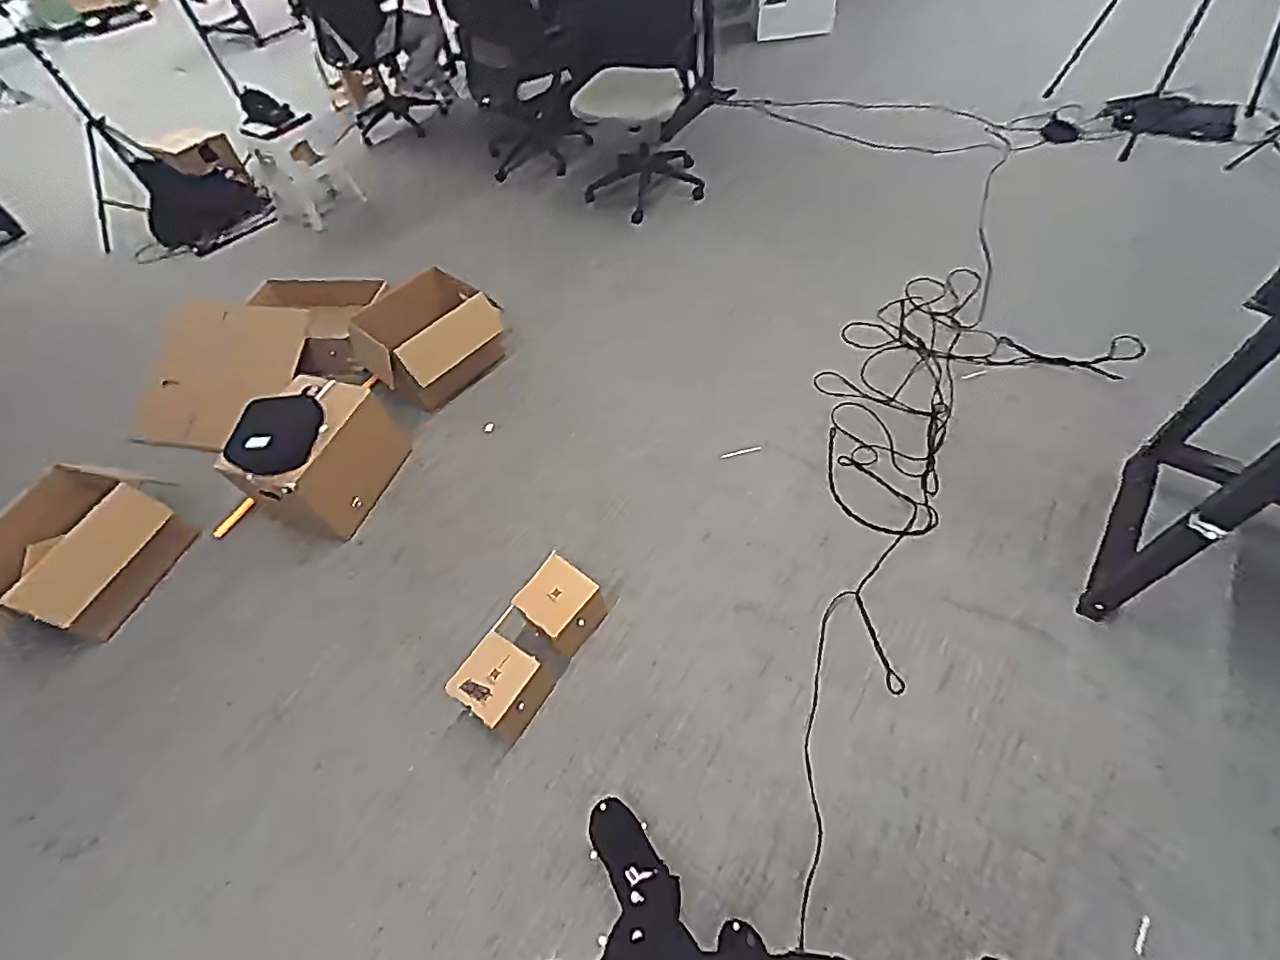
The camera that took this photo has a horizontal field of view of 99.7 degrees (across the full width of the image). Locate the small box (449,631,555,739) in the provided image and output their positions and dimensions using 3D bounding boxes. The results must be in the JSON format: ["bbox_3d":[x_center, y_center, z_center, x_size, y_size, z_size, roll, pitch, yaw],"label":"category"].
[{"bbox_3d":[-0.339,0.522,1.365,0.168,0.176,0.179,26,61,24],"label":"small box"}]

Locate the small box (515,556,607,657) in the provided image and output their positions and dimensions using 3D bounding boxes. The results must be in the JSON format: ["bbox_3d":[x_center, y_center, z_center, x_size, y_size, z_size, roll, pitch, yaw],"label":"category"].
[{"bbox_3d":[-0.205,0.347,1.474,0.168,0.176,0.179,31,65,26],"label":"small box"}]
